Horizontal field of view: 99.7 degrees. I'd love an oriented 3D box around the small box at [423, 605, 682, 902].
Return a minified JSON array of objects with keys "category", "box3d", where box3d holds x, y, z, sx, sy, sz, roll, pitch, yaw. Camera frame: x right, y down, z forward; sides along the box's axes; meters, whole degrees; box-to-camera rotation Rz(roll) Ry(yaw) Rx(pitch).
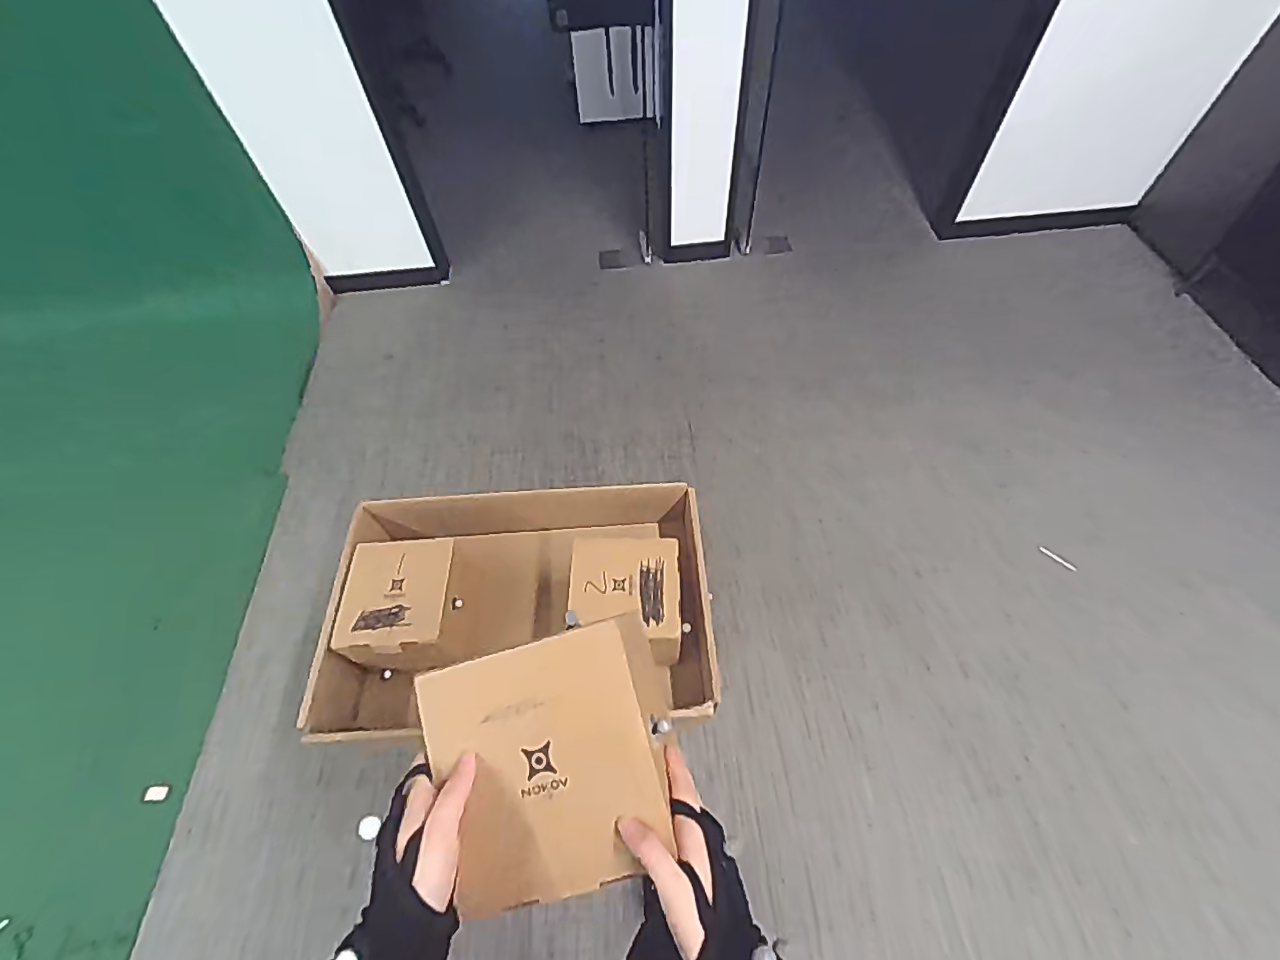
[{"category":"small box","box3d":[-0.063,0.218,0.482,0.168,0.176,0.179,-16,77,3]}]
